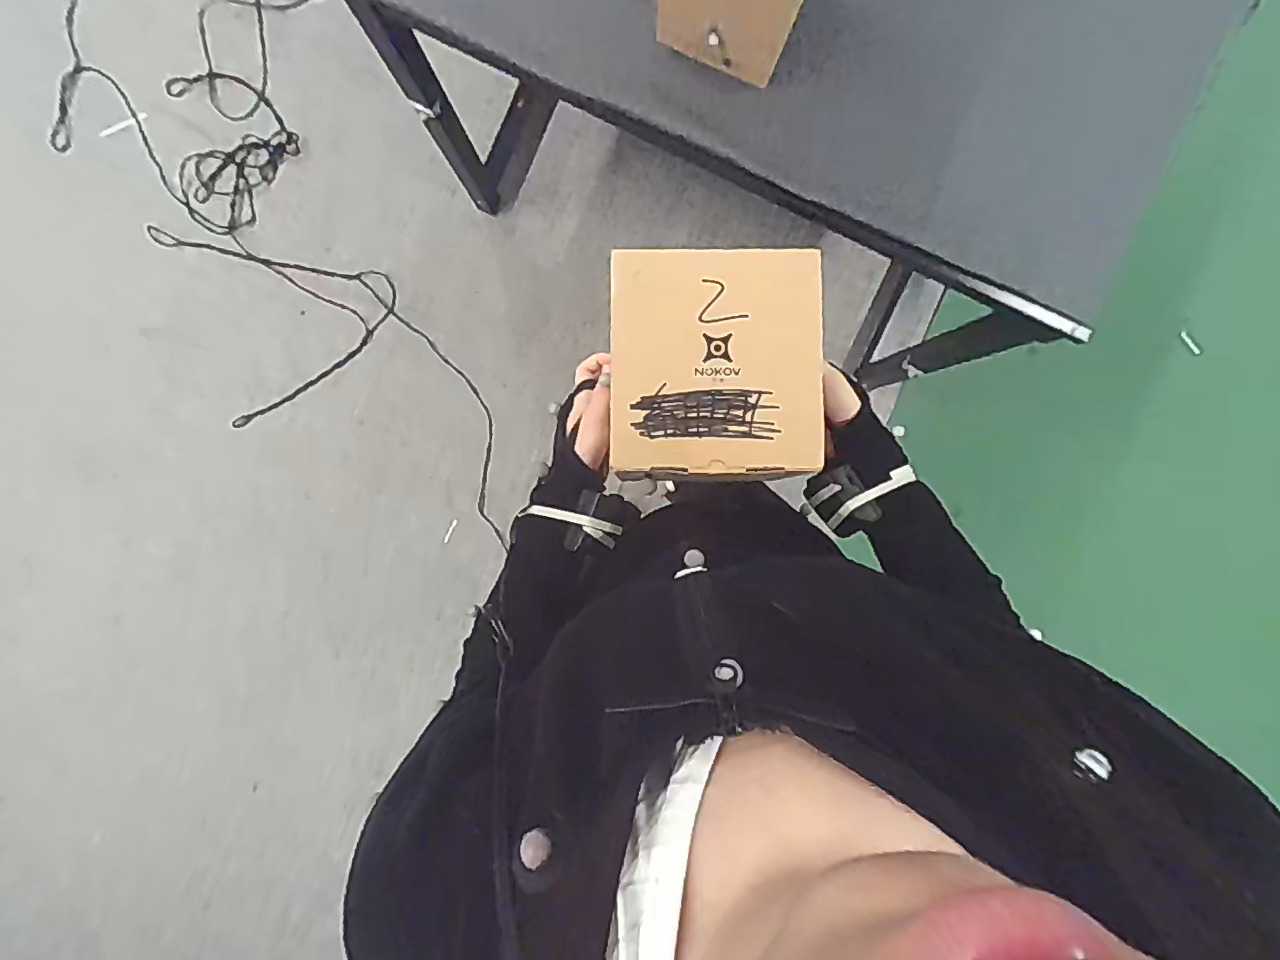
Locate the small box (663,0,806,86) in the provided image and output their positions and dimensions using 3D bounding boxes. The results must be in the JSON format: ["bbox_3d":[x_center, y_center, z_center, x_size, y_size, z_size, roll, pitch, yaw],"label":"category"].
[{"bbox_3d":[0.133,-0.643,0.656,0.168,0.176,0.179,24,91,0],"label":"small box"}]
